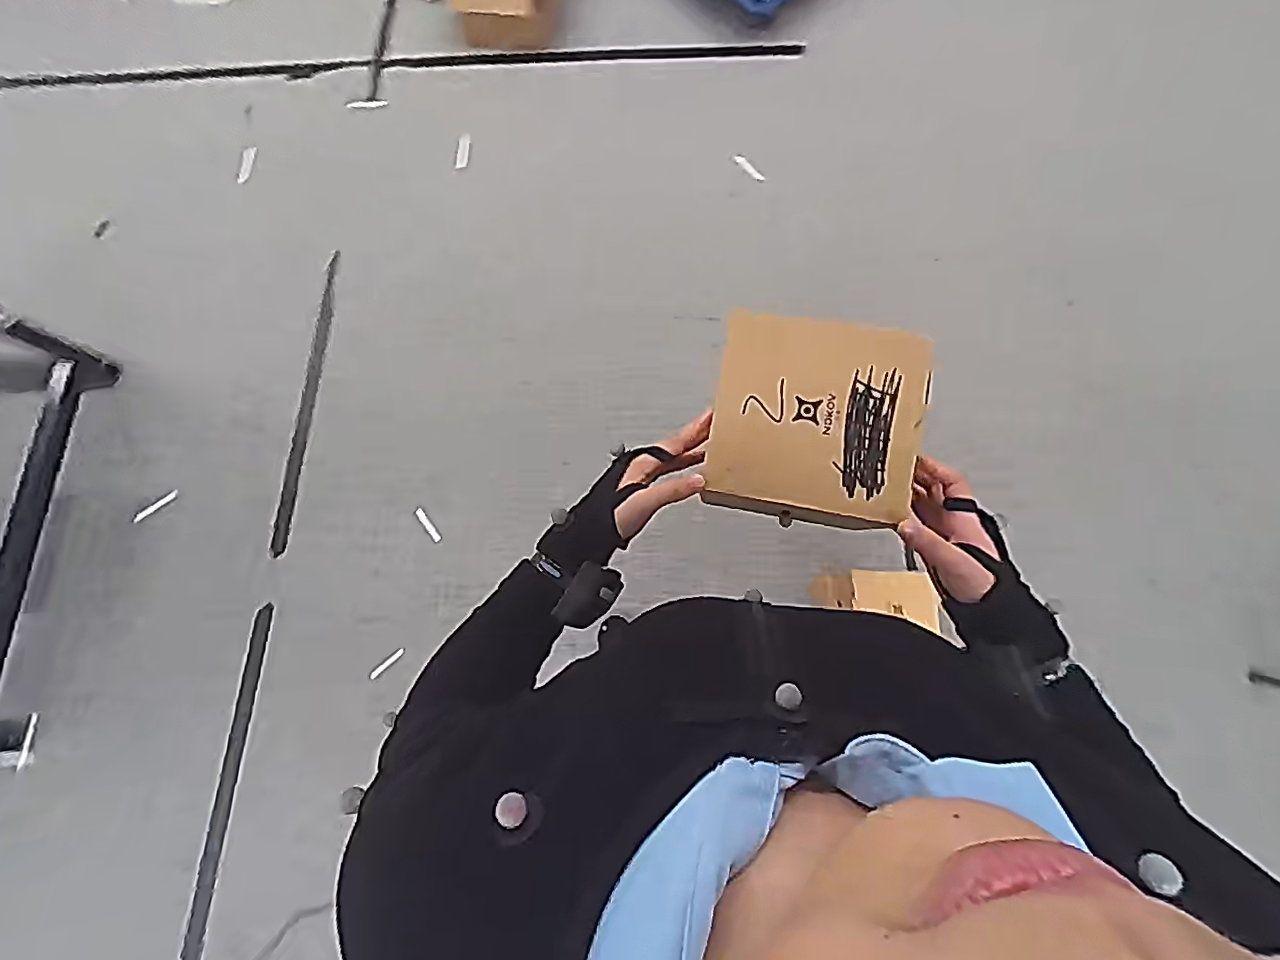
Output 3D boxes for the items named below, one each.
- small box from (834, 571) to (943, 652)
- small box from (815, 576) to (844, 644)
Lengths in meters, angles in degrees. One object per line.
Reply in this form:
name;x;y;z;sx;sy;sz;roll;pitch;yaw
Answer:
small box;0.557;0.299;1.231;0.179;0.176;0.168;1;75;4
small box;0.557;0.337;1.390;0.179;0.176;0.168;-1;76;3
